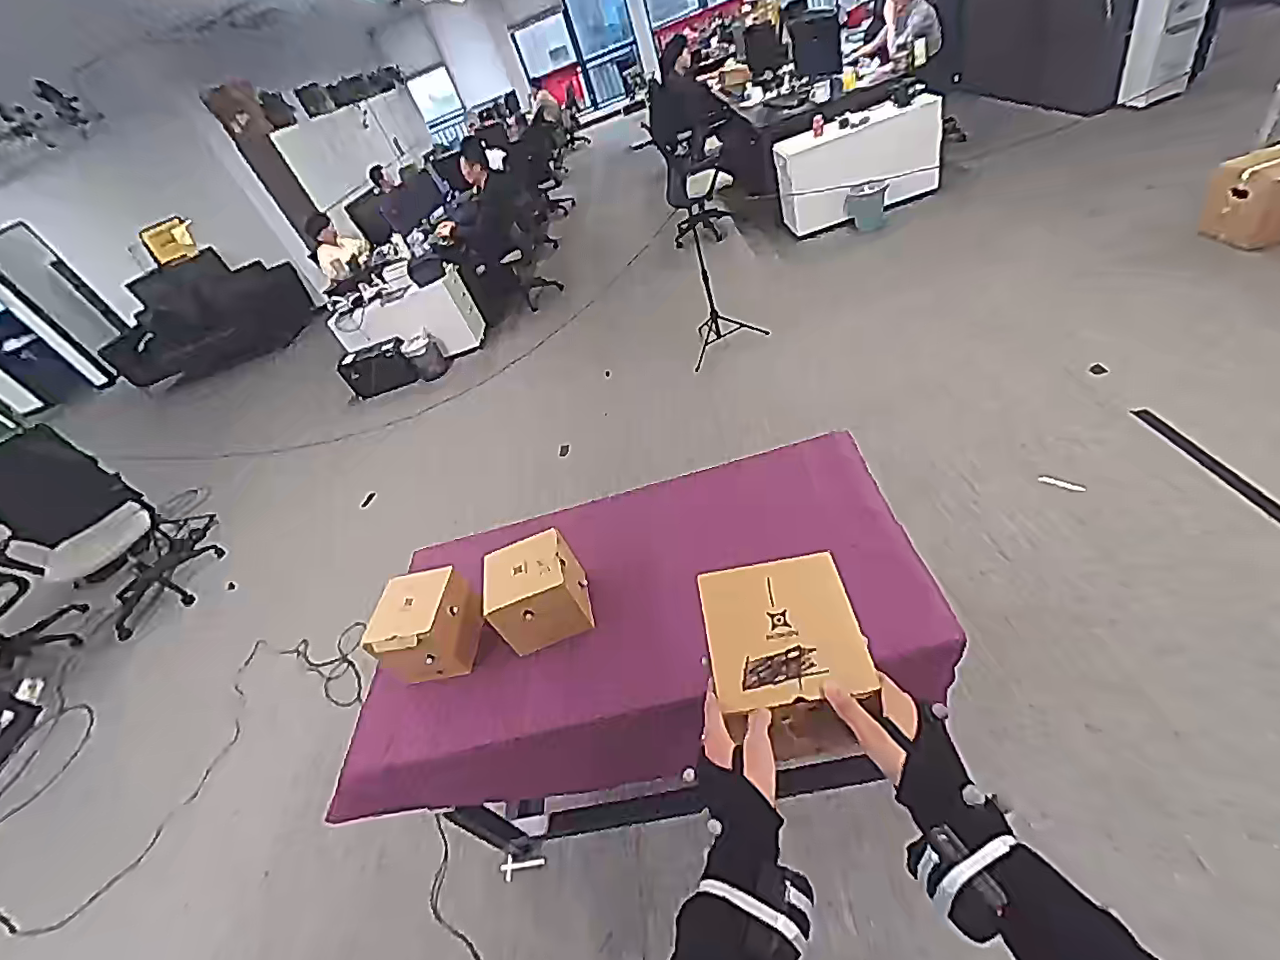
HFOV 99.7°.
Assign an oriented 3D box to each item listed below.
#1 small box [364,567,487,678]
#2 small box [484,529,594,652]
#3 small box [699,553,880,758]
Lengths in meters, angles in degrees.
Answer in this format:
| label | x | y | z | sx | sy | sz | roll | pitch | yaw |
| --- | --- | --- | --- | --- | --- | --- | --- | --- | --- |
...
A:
| label | x | y | z | sx | sy | sz | roll | pitch | yaw |
| --- | --- | --- | --- | --- | --- | --- | --- | --- | --- |
| small box | -0.464 | 0.324 | 1.204 | 0.168 | 0.176 | 0.179 | -12 | 40 | 12 |
| small box | -0.218 | 0.243 | 1.173 | 0.179 | 0.176 | 0.168 | -22 | 40 | 2 |
| small box | 0.174 | 0.218 | 0.656 | 0.168 | 0.176 | 0.179 | -11 | 44 | 6 |
